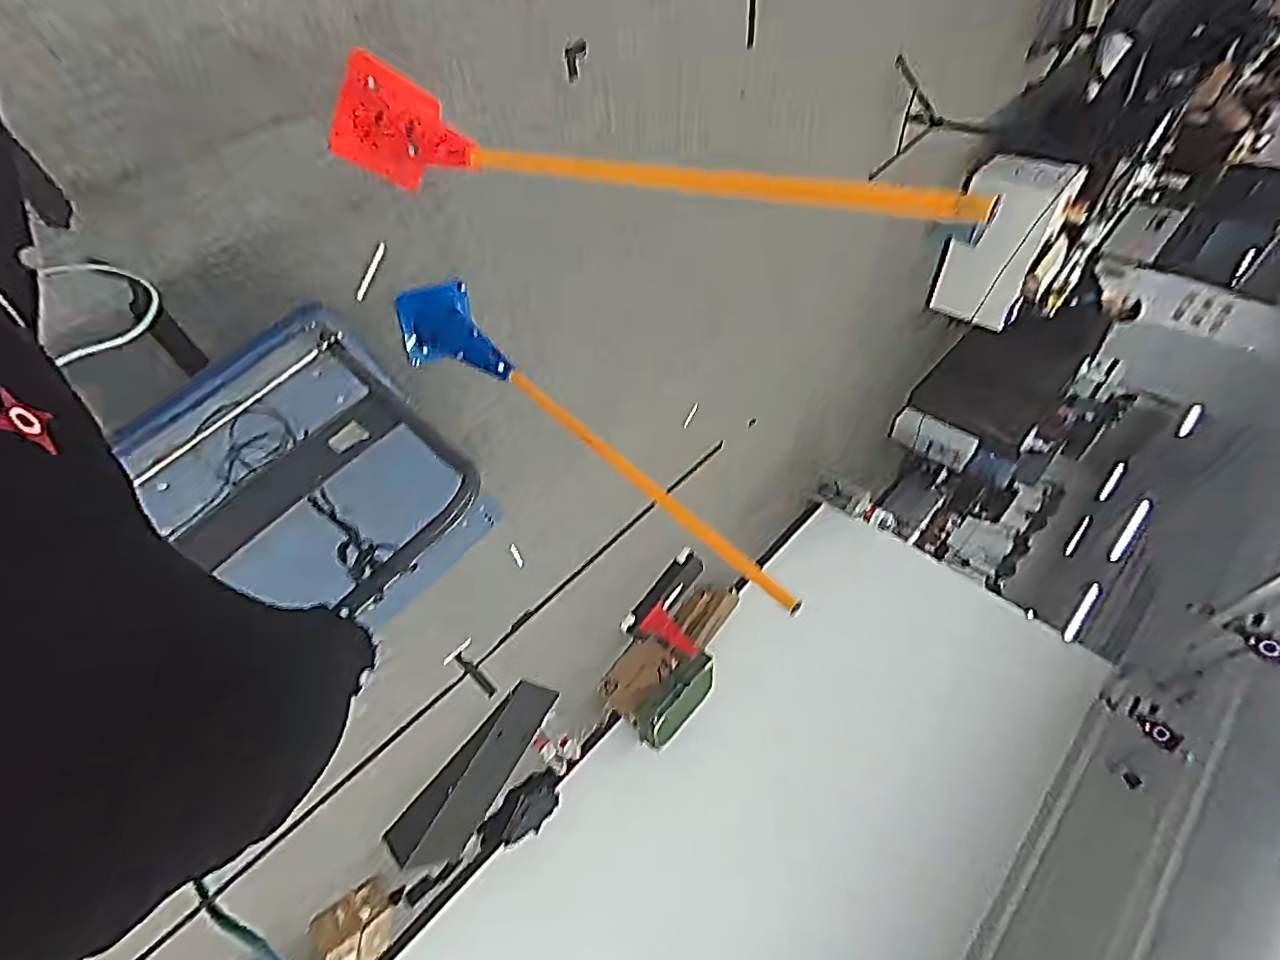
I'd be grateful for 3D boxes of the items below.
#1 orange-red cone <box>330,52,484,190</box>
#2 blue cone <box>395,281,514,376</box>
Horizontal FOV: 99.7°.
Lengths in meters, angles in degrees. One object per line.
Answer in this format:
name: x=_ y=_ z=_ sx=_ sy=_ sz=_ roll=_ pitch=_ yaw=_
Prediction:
orange-red cone: x=-0.414 y=-0.660 z=1.053 sx=0.198 sy=0.360 sz=0.199 roll=5 pitch=117 yaw=-55
blue cone: x=-0.436 y=-0.342 z=1.362 sx=0.193 sy=0.380 sz=0.192 roll=-29 pitch=140 yaw=-36
